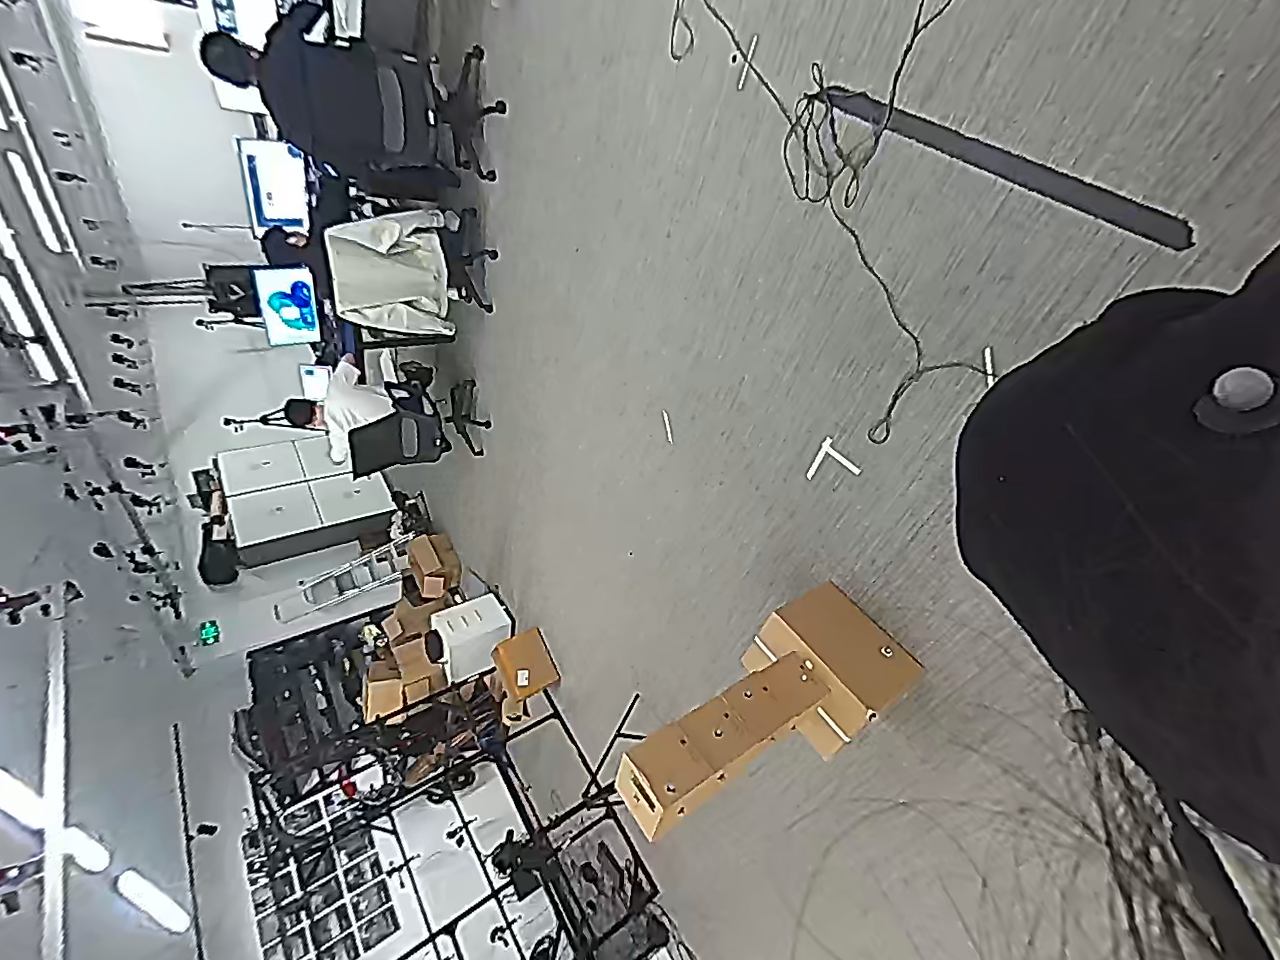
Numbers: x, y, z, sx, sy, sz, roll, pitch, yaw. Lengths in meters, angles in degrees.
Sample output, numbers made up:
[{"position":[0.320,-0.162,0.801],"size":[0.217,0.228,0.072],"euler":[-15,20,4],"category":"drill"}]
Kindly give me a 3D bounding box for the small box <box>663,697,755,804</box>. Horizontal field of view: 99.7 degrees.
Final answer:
[{"position":[0.191,0.736,1.487],"size":[0.168,0.176,0.179],"euler":[44,135,38],"category":"small box"}]

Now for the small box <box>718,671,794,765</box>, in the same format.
[{"position":[0.321,0.693,1.580],"size":[0.168,0.176,0.179],"euler":[47,138,35],"category":"small box"}]

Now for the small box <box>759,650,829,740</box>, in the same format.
[{"position":[0.450,0.663,1.672],"size":[0.168,0.176,0.179],"euler":[47,137,33],"category":"small box"}]
